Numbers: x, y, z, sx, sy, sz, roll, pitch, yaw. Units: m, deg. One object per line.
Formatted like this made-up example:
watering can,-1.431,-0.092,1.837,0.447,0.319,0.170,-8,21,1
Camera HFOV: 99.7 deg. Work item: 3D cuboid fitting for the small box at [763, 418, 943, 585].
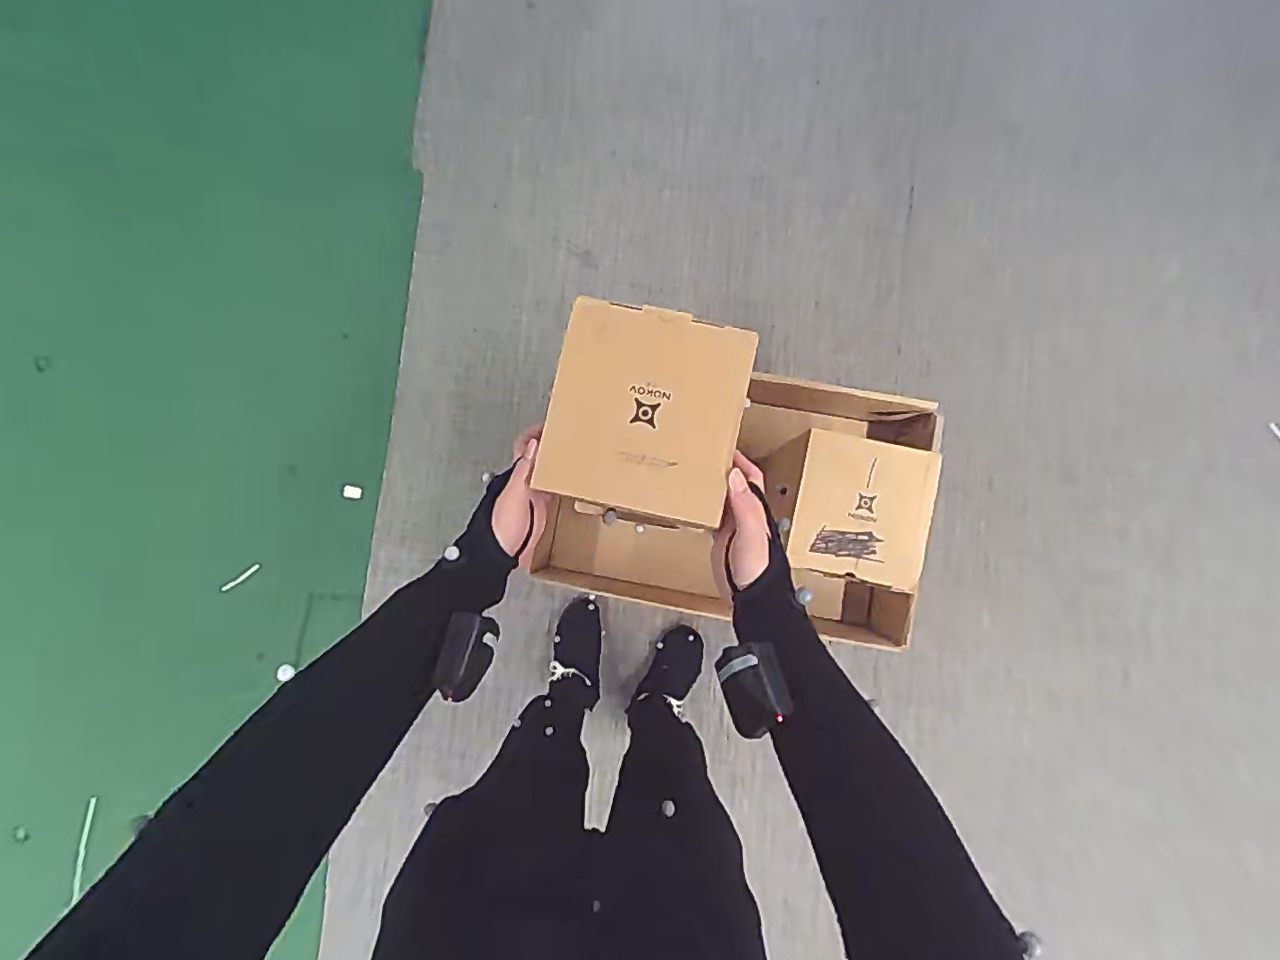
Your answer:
small box,0.272,0.030,0.731,0.168,0.176,0.179,12,86,3

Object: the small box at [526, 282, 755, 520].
small box,0.002,-0.063,0.535,0.168,0.176,0.179,12,85,2
